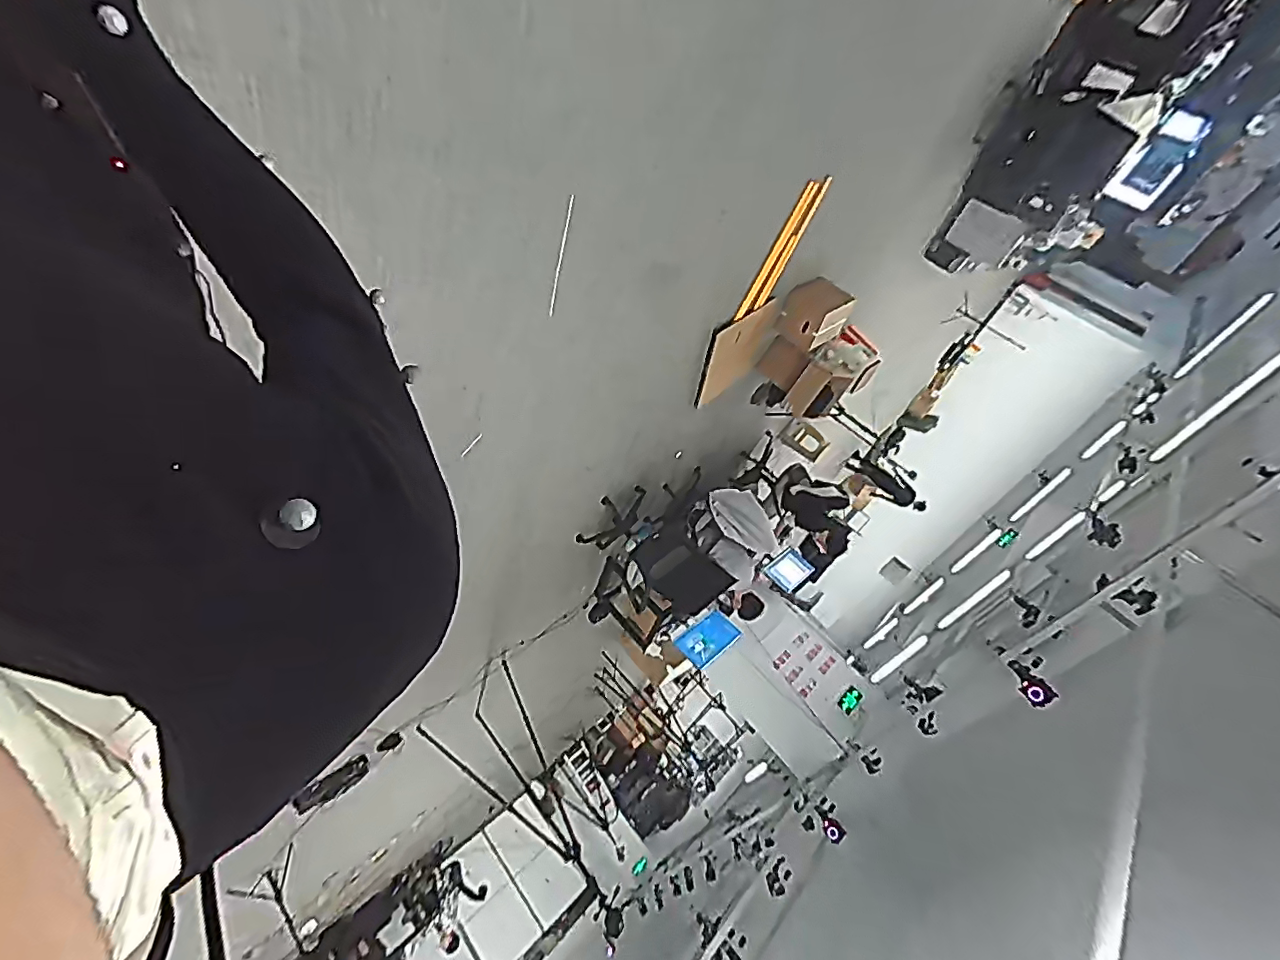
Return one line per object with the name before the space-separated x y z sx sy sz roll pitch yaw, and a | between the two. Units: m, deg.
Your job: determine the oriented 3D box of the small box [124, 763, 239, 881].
small box | -1.181 0.876 1.393 0.179 0.176 0.168 -27 152 -38
